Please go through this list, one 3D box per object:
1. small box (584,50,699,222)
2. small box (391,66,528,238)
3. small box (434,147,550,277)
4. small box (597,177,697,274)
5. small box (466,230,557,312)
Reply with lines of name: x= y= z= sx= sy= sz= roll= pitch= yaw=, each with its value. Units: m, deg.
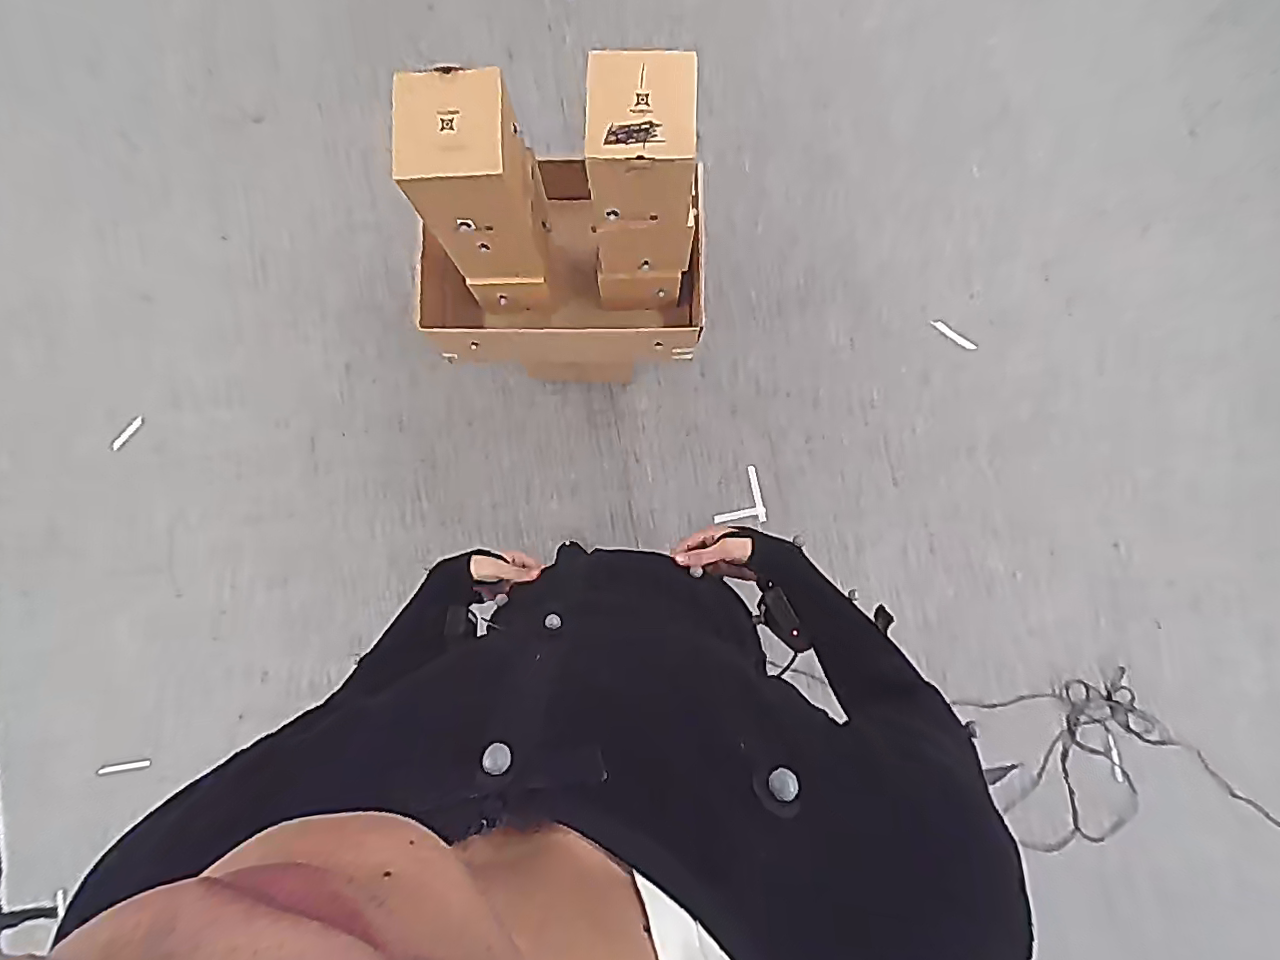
small box: x=0.005 y=-0.540 z=0.869 sx=0.168 sy=0.176 sz=0.179 roll=1 pitch=84 yaw=1
small box: x=-0.282 y=-0.520 z=0.876 sx=0.168 sy=0.176 sz=0.179 roll=-3 pitch=84 yaw=1
small box: x=-0.276 y=-0.506 z=1.039 sx=0.179 sy=0.176 sz=0.168 roll=0 pitch=85 yaw=0
small box: x=0.008 y=-0.510 z=1.032 sx=0.179 sy=0.176 sz=0.168 roll=-3 pitch=85 yaw=0
small box: x=-0.279 y=-0.483 z=1.202 sx=0.168 sy=0.176 sz=0.179 roll=-2 pitch=84 yaw=0
